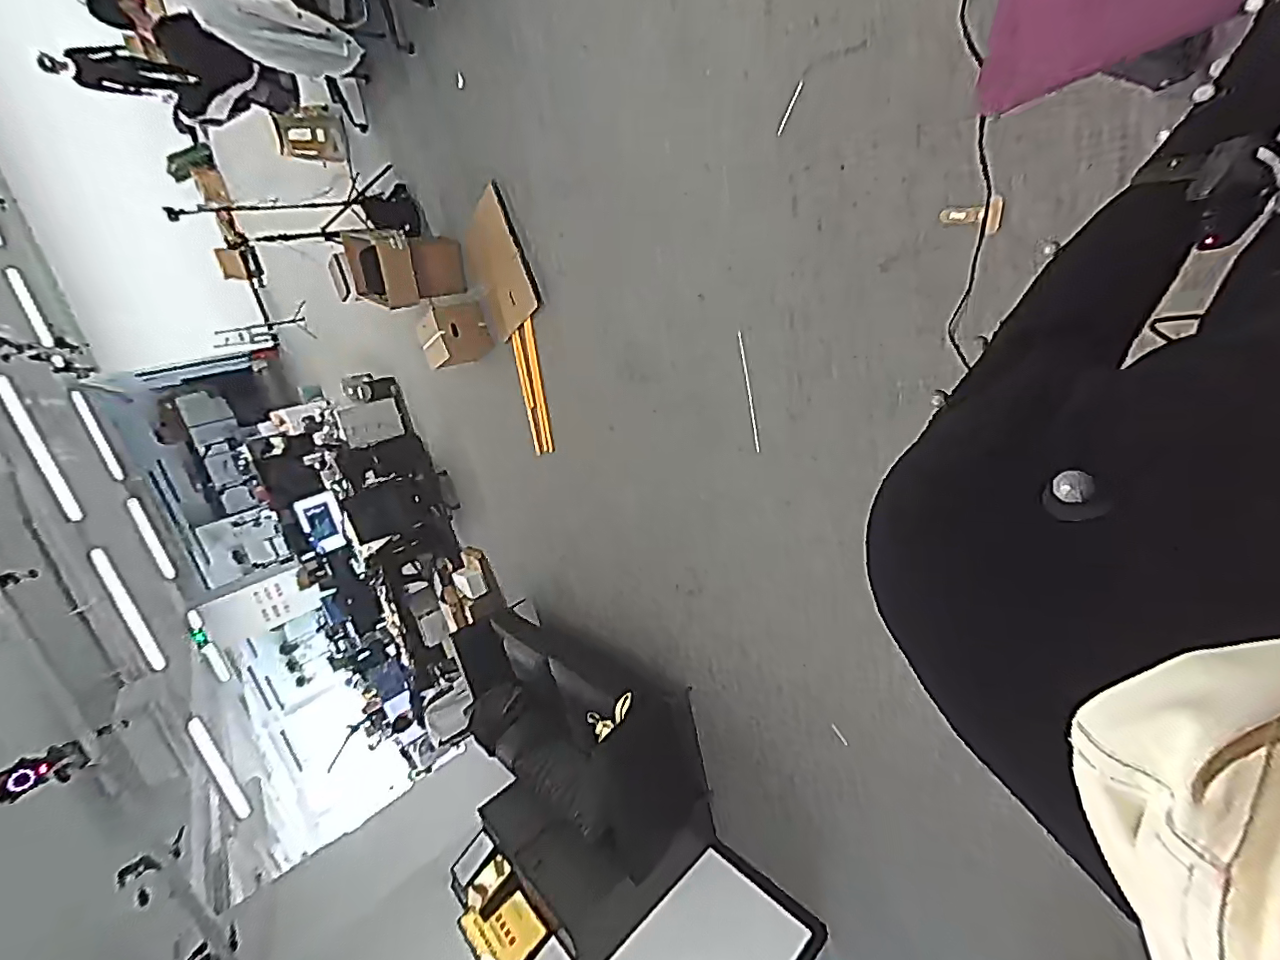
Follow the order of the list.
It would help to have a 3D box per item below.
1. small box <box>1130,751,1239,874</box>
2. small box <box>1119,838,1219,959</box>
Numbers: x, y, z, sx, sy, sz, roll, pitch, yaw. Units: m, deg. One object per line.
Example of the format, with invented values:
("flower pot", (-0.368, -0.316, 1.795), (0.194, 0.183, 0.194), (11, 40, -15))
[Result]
("small box", (1.396, 0.839, 1.387), (0.179, 0.176, 0.168), (8, 117, 51))
("small box", (1.455, 1.142, 1.486), (0.179, 0.176, 0.168), (9, 116, 50))
